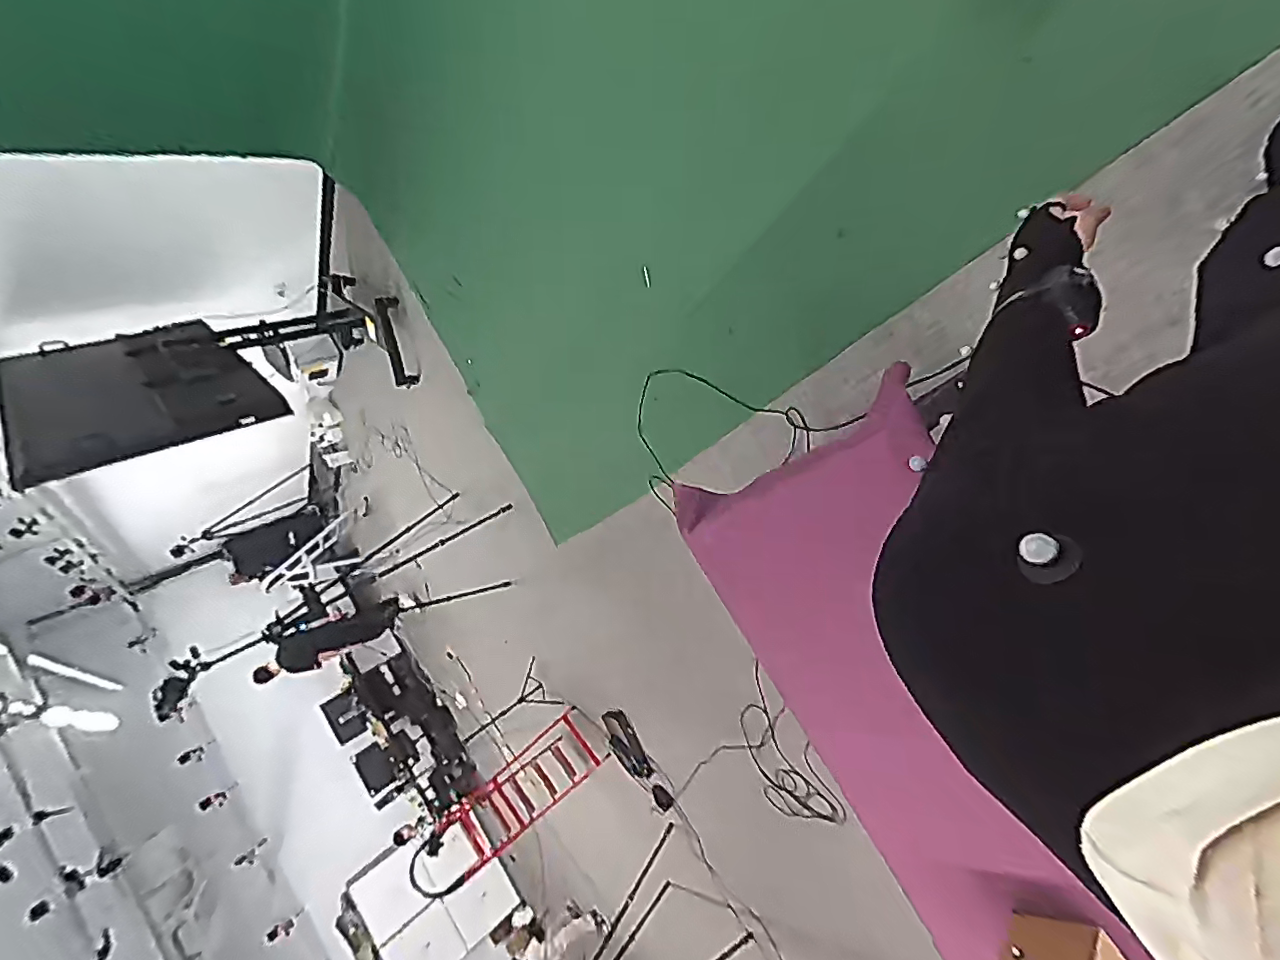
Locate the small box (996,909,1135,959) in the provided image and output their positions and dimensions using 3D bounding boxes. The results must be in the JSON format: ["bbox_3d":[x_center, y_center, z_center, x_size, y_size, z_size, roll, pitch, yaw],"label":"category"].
[{"bbox_3d":[0.795,0.931,0.984,0.168,0.176,0.179,55,141,10],"label":"small box"}]
